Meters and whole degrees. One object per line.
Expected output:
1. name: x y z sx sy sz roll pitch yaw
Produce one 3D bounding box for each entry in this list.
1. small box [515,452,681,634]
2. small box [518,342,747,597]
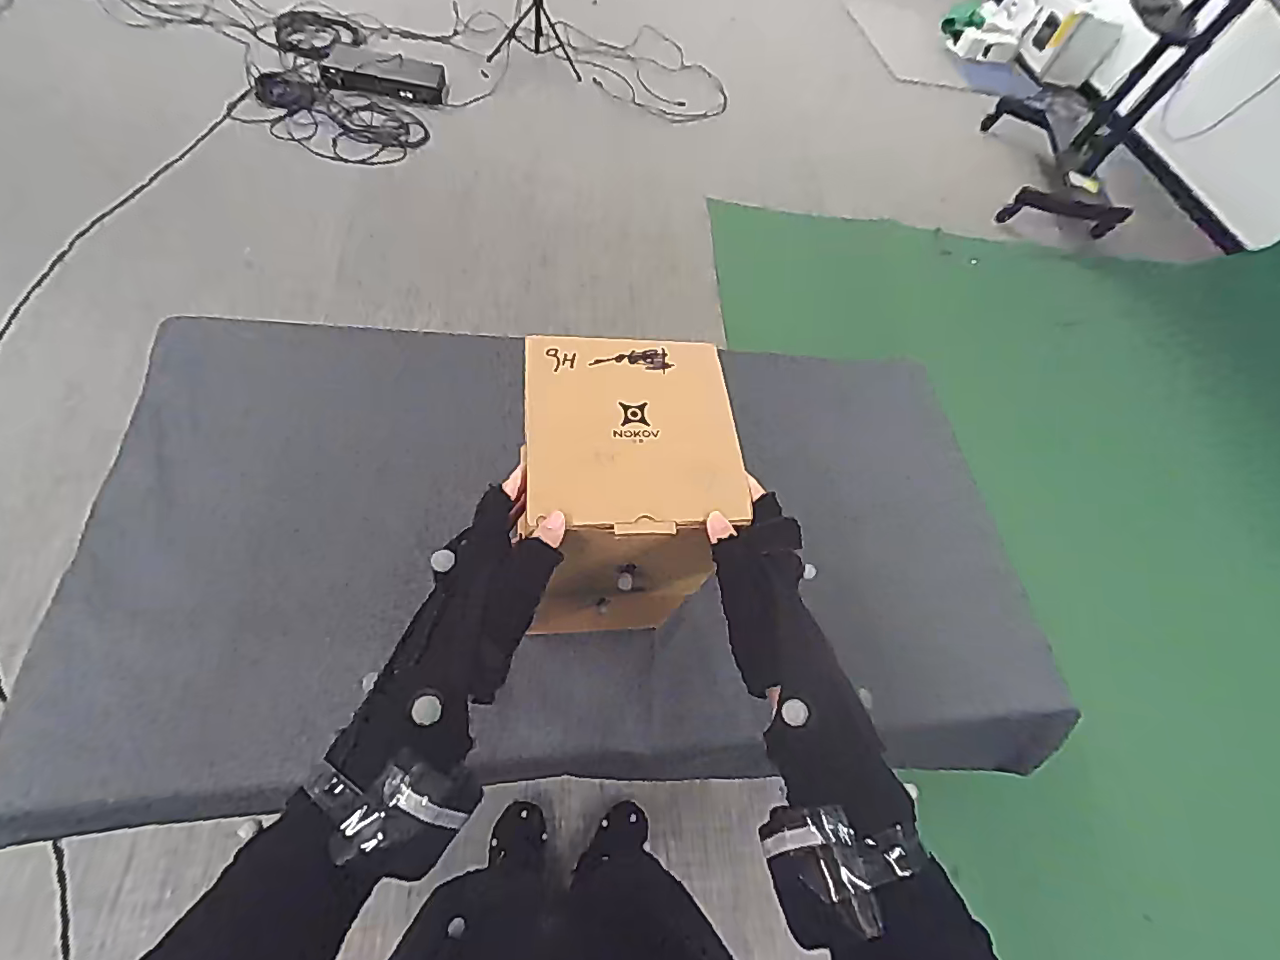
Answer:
1. small box: -0.053 0.076 0.626 0.179 0.176 0.168 0 62 -13
2. small box: -0.022 0.001 0.484 0.168 0.176 0.179 0 62 -12
